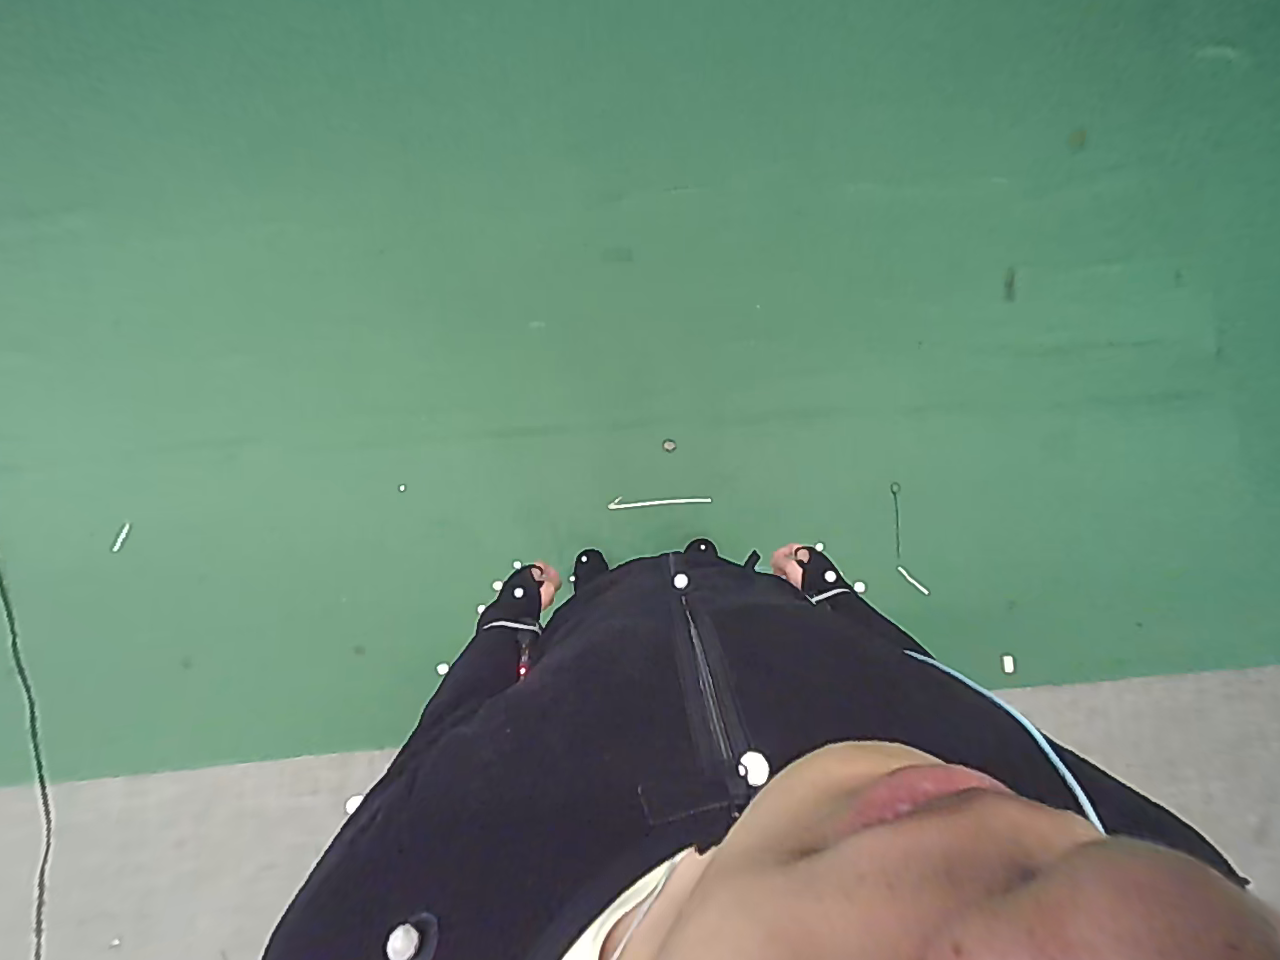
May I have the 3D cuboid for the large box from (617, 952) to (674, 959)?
[{"bbox_3d":[-0.084,1.476,1.347,0.408,0.320,0.320,-5,84,-3],"label":"large box"}]
